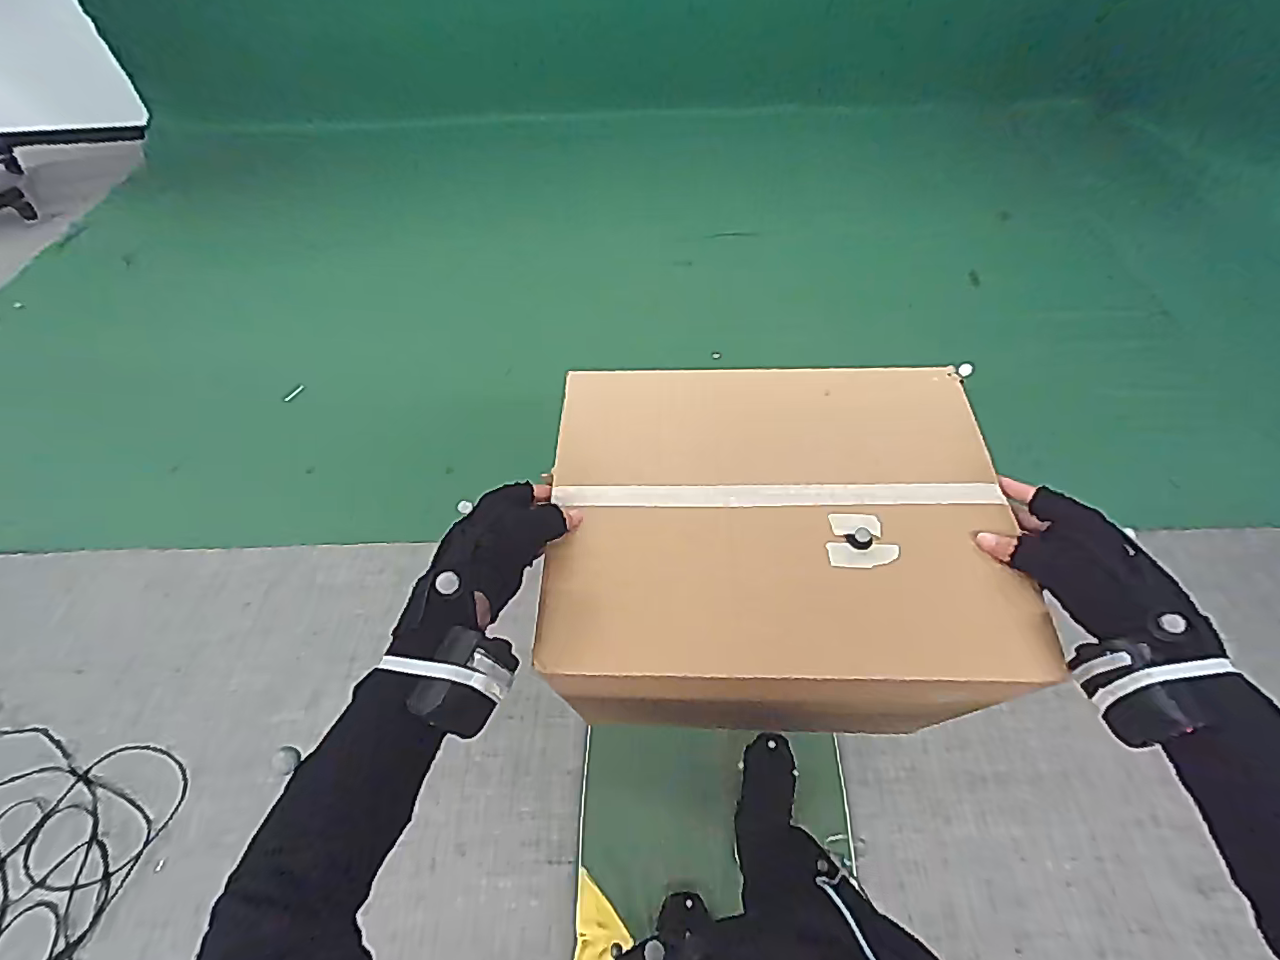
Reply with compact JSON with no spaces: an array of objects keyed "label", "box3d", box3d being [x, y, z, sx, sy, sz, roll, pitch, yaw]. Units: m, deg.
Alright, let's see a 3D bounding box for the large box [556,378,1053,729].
[{"label":"large box","box3d":[0.132,0.101,0.633,0.408,0.320,0.320,0,59,2]}]
